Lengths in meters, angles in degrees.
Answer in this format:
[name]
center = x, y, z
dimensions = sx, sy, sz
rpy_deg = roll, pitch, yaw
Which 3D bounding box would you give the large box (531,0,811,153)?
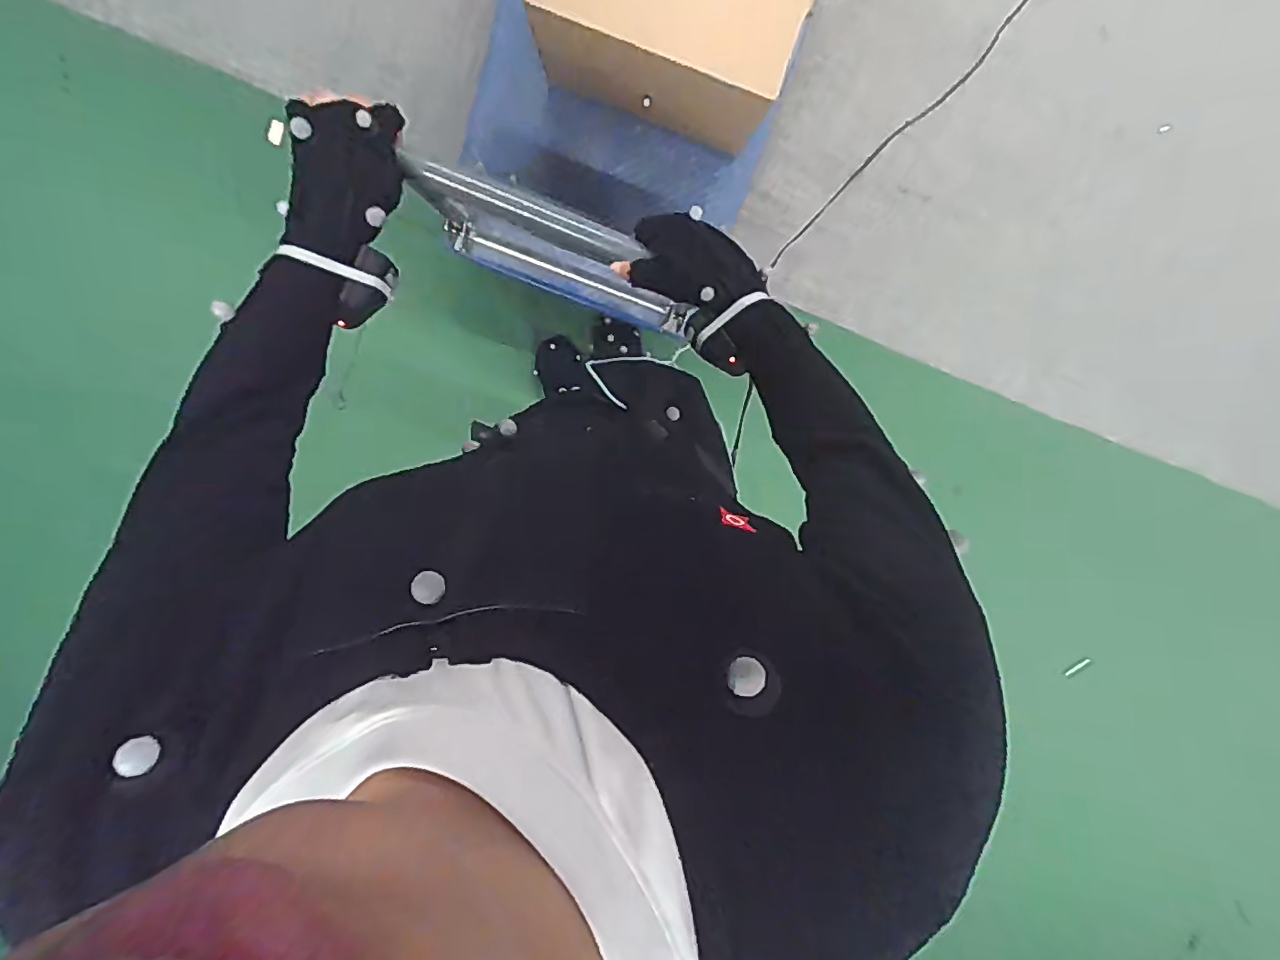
[large box]
center = 0.069, -0.822, 0.922
dimensions = 0.408, 0.320, 0.320
rpy_deg = 16, 105, -6
